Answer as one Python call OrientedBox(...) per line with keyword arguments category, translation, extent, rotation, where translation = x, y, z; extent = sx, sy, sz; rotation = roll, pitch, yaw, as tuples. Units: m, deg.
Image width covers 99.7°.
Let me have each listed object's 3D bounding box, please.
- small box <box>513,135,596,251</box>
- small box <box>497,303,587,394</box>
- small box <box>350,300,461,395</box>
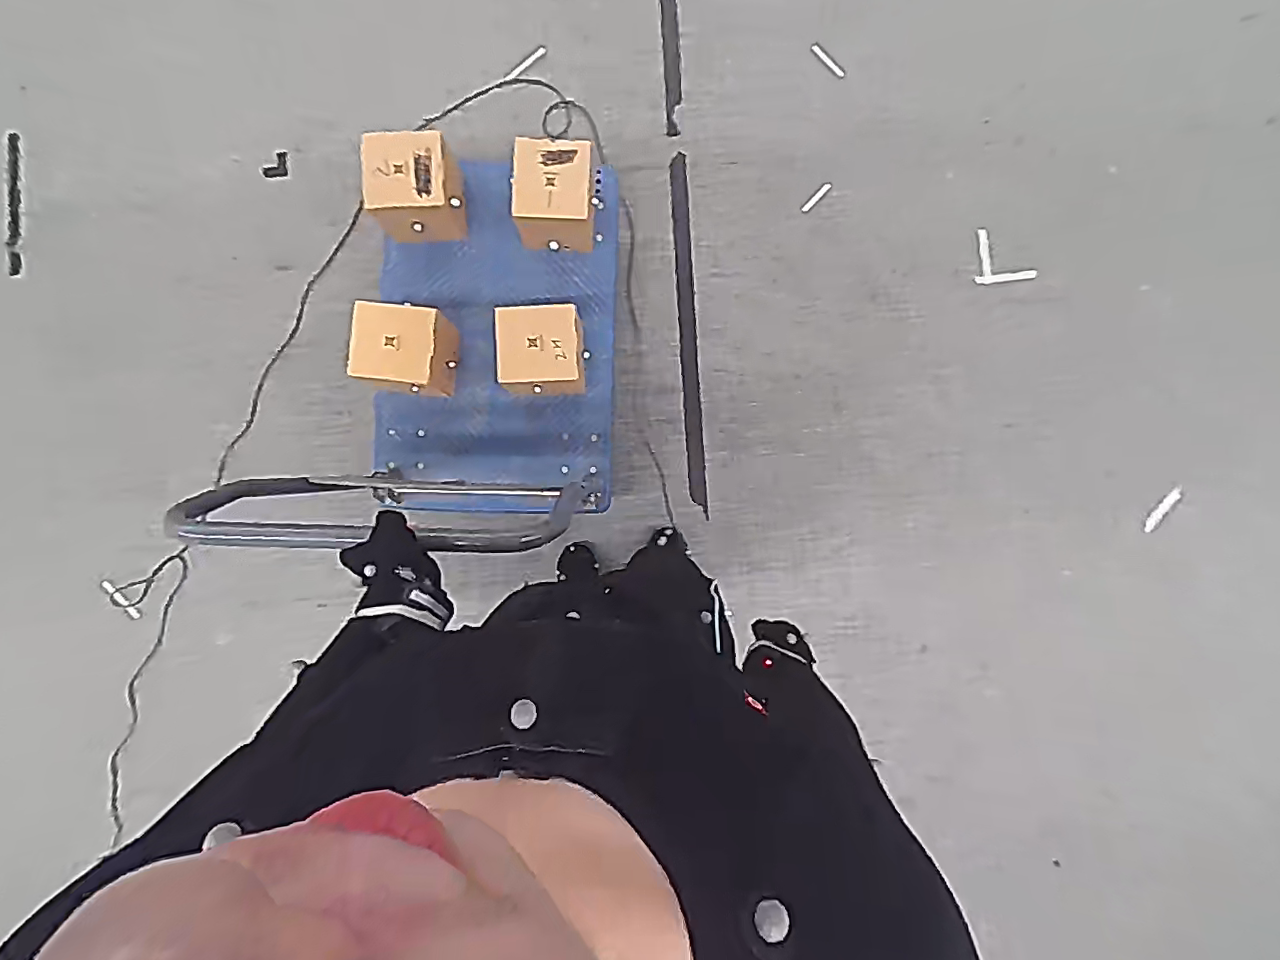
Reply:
OrientedBox(category="small box", translation=(-0.190, -0.656, 1.247), extent=(0.168, 0.176, 0.179), rotation=(2, 90, -1))
OrientedBox(category="small box", translation=(-0.219, -0.295, 1.240), extent=(0.179, 0.176, 0.168), rotation=(-3, 89, -1))
OrientedBox(category="small box", translation=(-0.528, -0.296, 1.237), extent=(0.179, 0.176, 0.168), rotation=(5, 89, -2))
